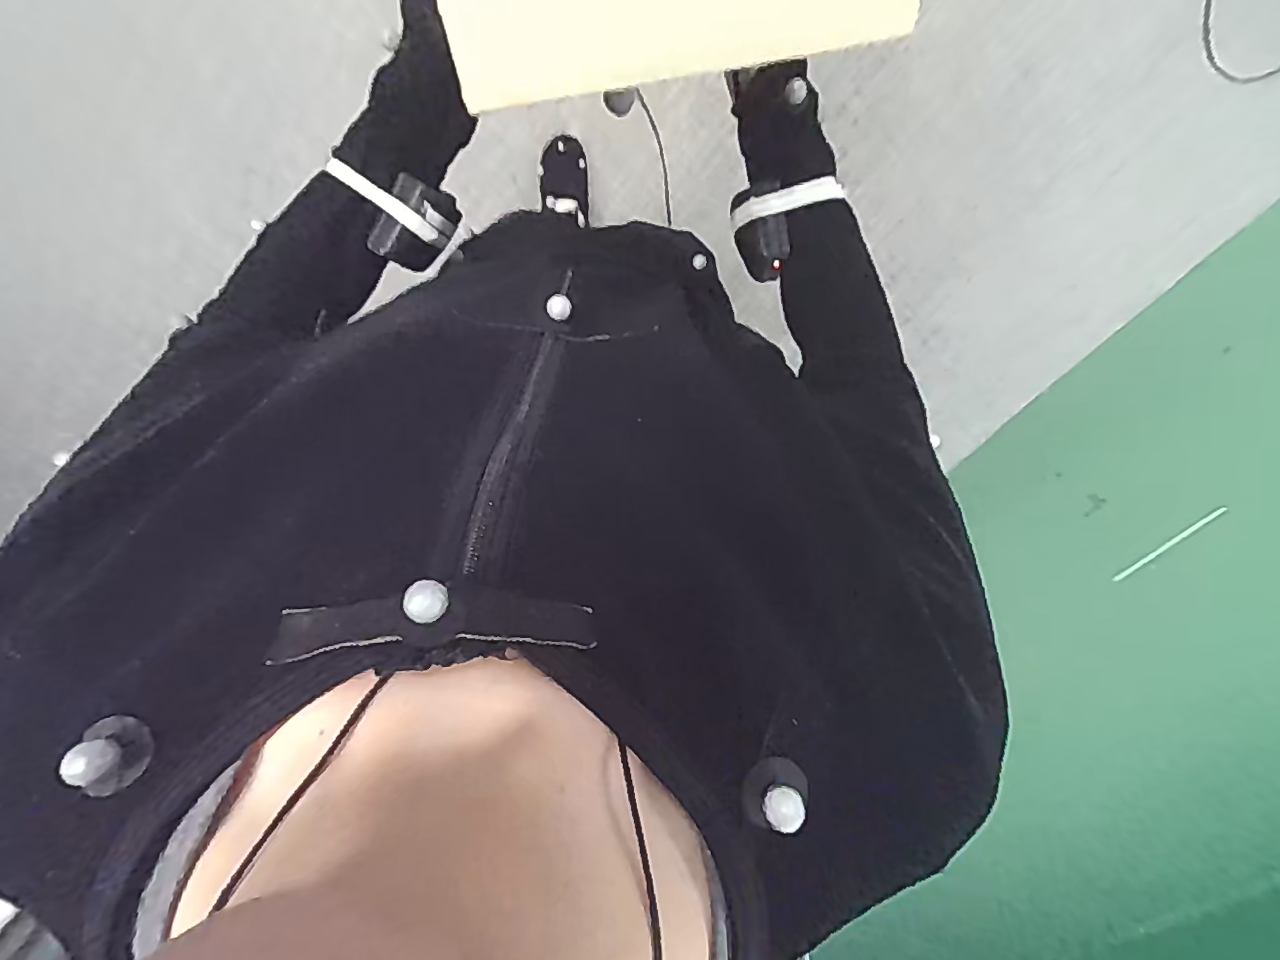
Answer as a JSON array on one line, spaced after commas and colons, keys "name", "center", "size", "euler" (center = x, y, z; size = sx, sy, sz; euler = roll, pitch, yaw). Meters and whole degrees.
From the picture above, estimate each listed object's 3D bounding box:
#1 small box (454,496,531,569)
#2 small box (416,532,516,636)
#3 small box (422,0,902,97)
[{"name": "small box", "center": [-0.428, 0.180, 1.546], "size": [0.168, 0.176, 0.179], "euler": [38, 110, -20]}, {"name": "small box", "center": [-0.443, 0.264, 1.405], "size": [0.179, 0.176, 0.168], "euler": [34, 112, -19]}, {"name": "small box", "center": [-0.004, -0.266, 0.199], "size": [0.168, 0.176, 0.179], "euler": [-9, 130, 1]}]
